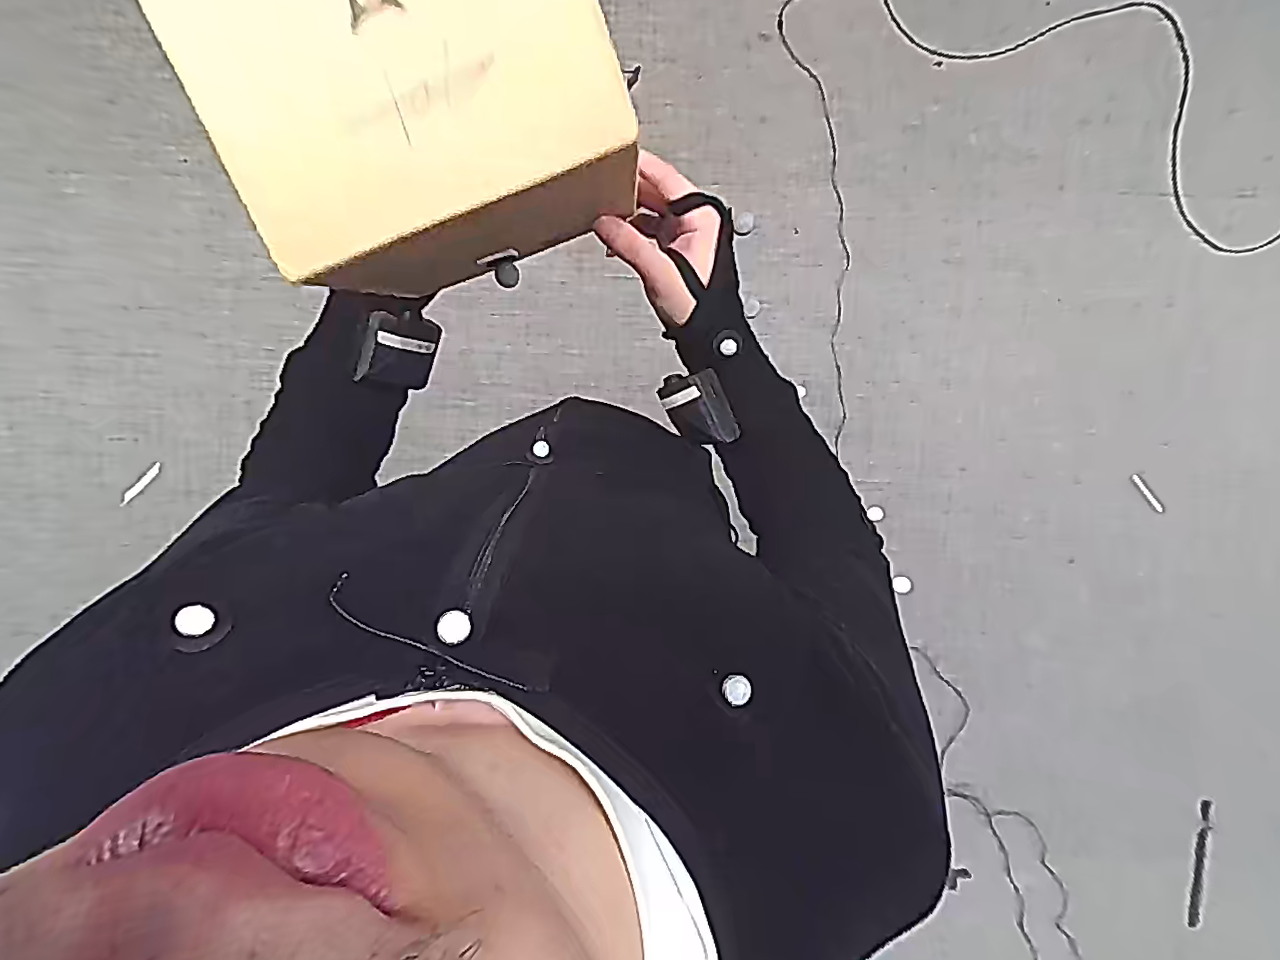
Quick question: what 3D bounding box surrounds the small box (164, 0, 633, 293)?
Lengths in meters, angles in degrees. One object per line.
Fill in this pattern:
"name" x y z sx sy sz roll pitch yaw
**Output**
"small box" -0.109 -0.217 0.299 0.168 0.176 0.179 -18 107 5
